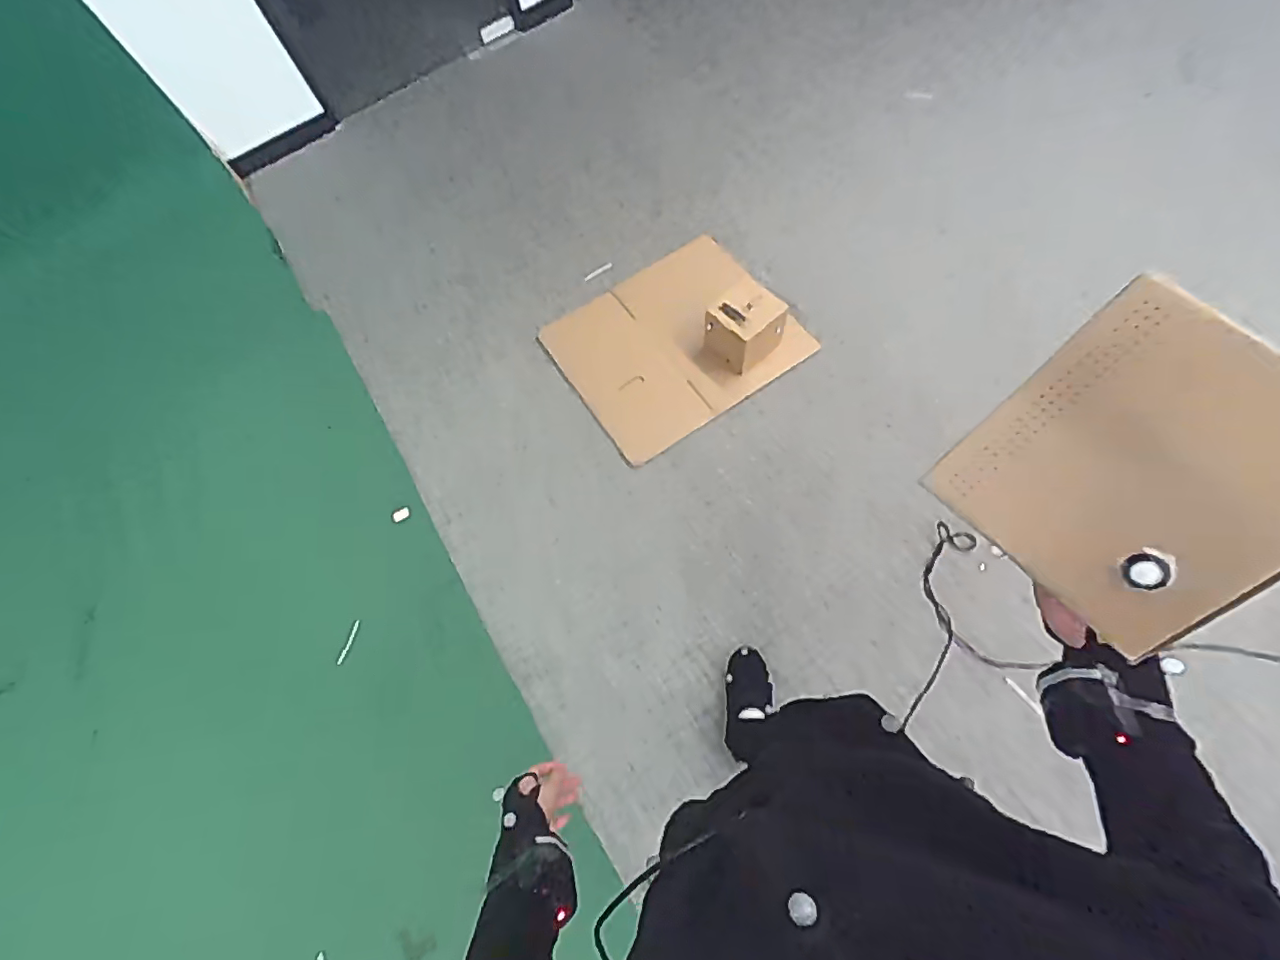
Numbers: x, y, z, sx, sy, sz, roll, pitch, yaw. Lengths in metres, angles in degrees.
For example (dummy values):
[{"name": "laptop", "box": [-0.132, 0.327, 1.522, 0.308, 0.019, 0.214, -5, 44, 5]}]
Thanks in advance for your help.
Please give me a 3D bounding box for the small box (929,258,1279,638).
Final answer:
[{"name": "small box", "box": [0.338, -0.024, 0.396, 0.176, 0.168, 0.179, 47, 116, 19]}]
